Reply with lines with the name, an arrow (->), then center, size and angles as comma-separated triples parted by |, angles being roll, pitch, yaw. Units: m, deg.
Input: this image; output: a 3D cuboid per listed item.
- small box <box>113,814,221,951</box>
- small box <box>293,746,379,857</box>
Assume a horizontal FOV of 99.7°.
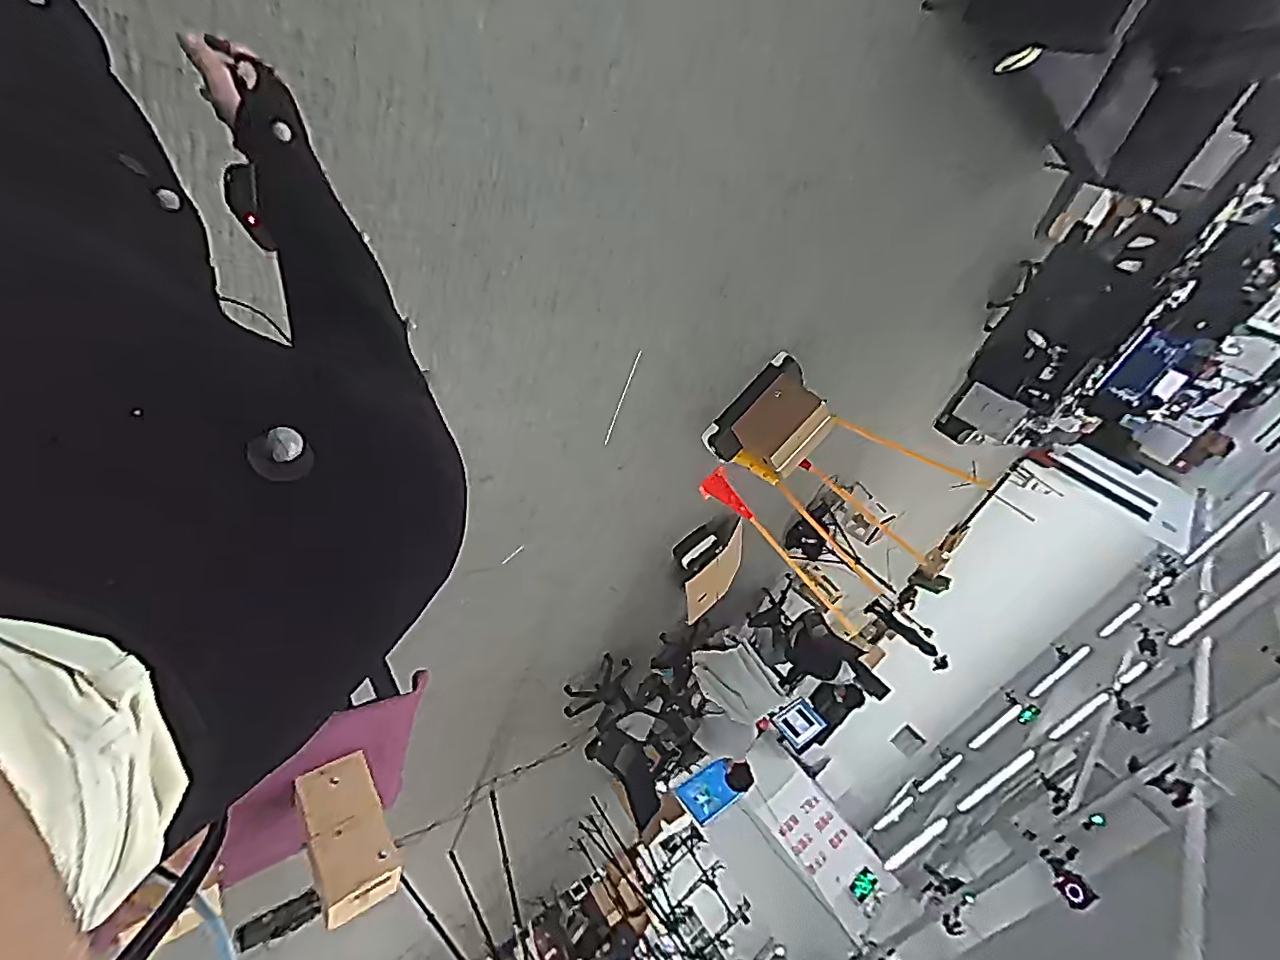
small box -> -1.088, 0.915, 1.247 | 0.168, 0.176, 0.179 | -10, 134, -42
small box -> -0.832, 0.871, 1.477 | 0.168, 0.176, 0.179 | -11, 134, -41
